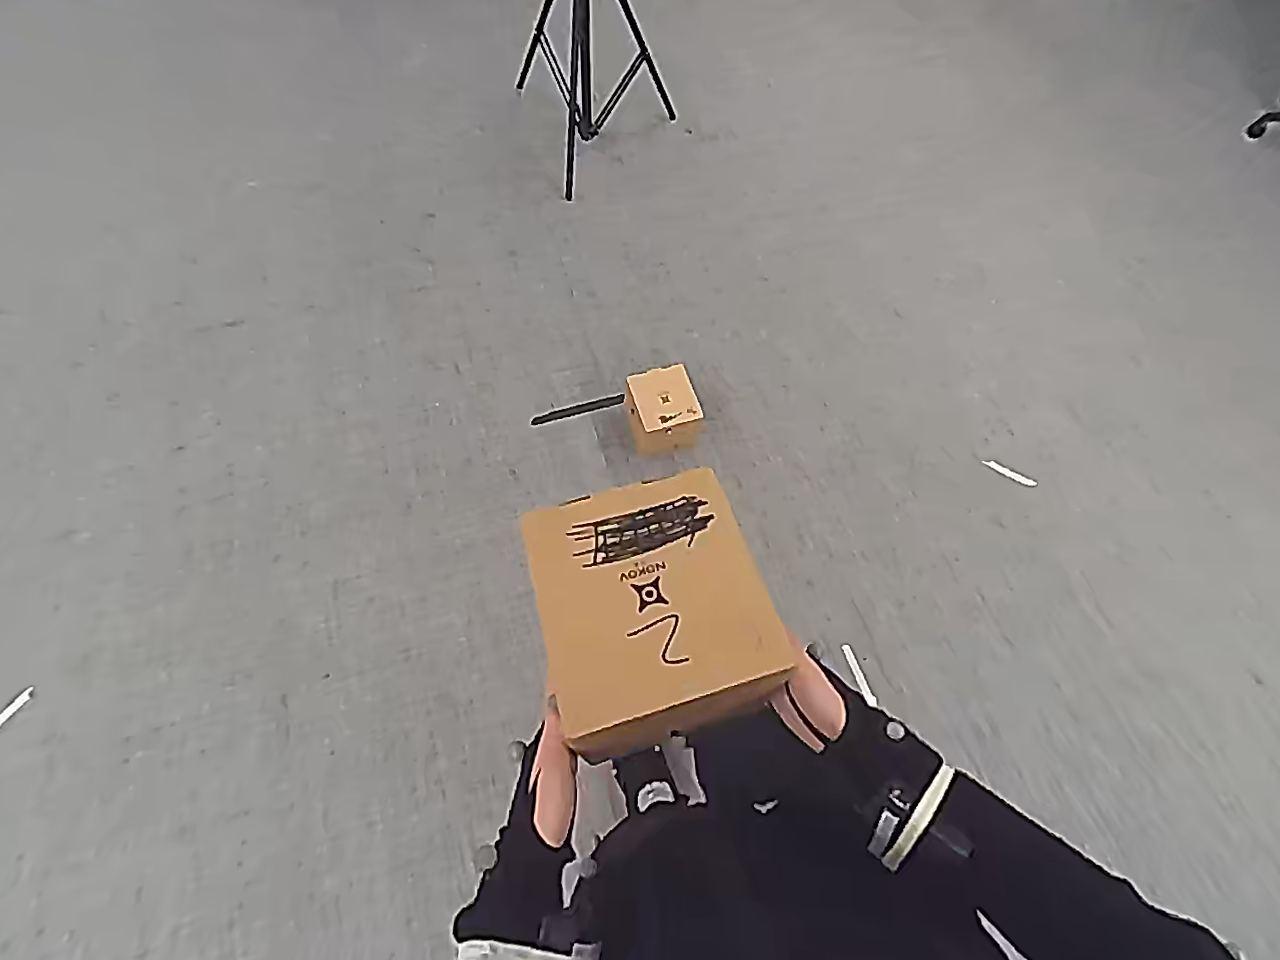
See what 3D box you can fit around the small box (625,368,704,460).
[{"bbox_3d":[0.061,-0.182,1.511,0.168,0.176,0.179,-16,69,-11],"label":"small box"}]
